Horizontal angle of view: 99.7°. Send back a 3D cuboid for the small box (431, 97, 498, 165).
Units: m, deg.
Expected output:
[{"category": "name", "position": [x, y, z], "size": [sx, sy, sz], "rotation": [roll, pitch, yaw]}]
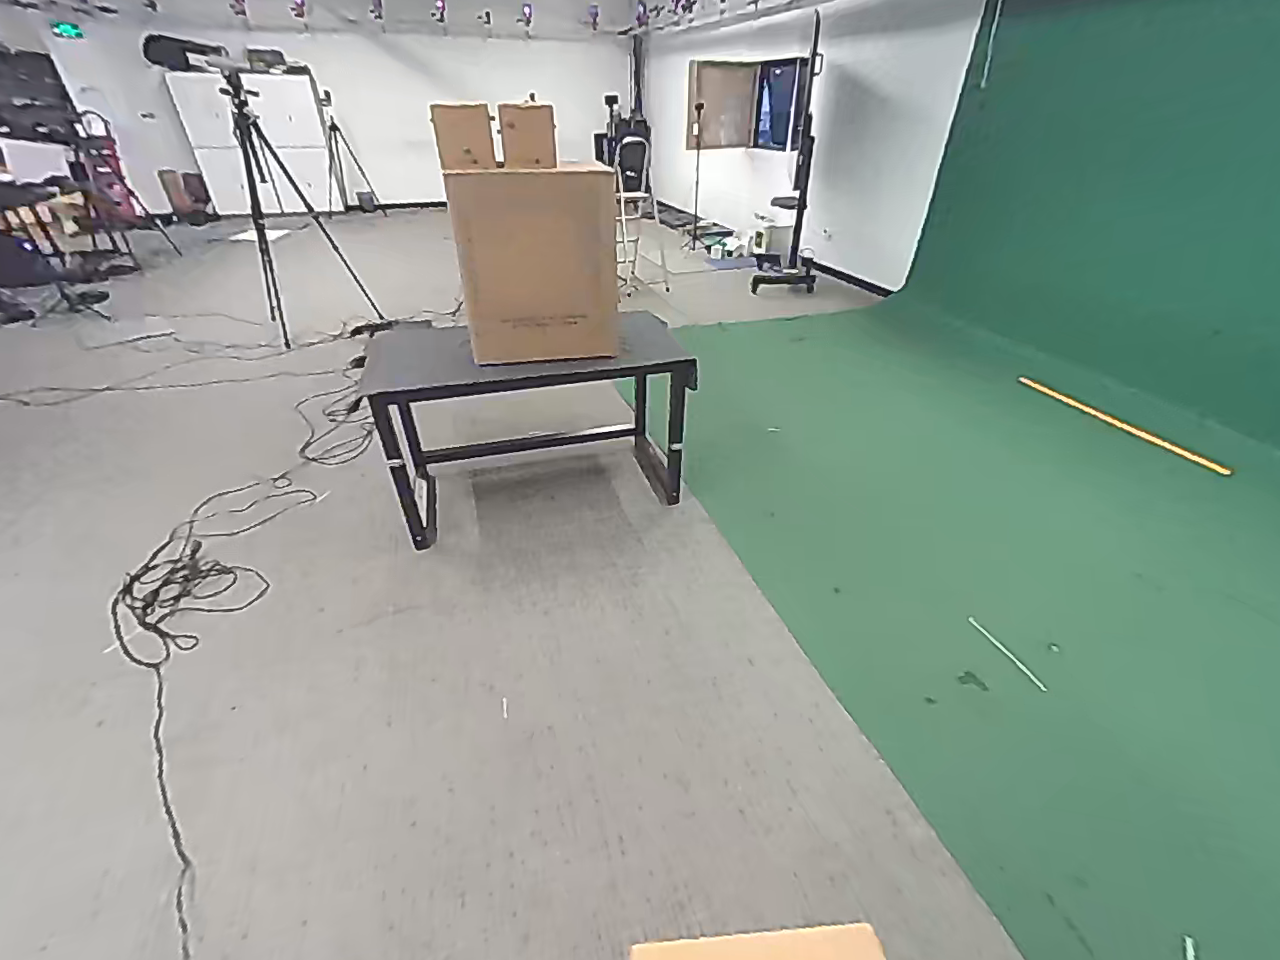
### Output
[{"category": "small box", "position": [-0.536, -1.082, 1.673], "size": [0.168, 0.176, 0.179], "rotation": [-8, 38, -10]}]
